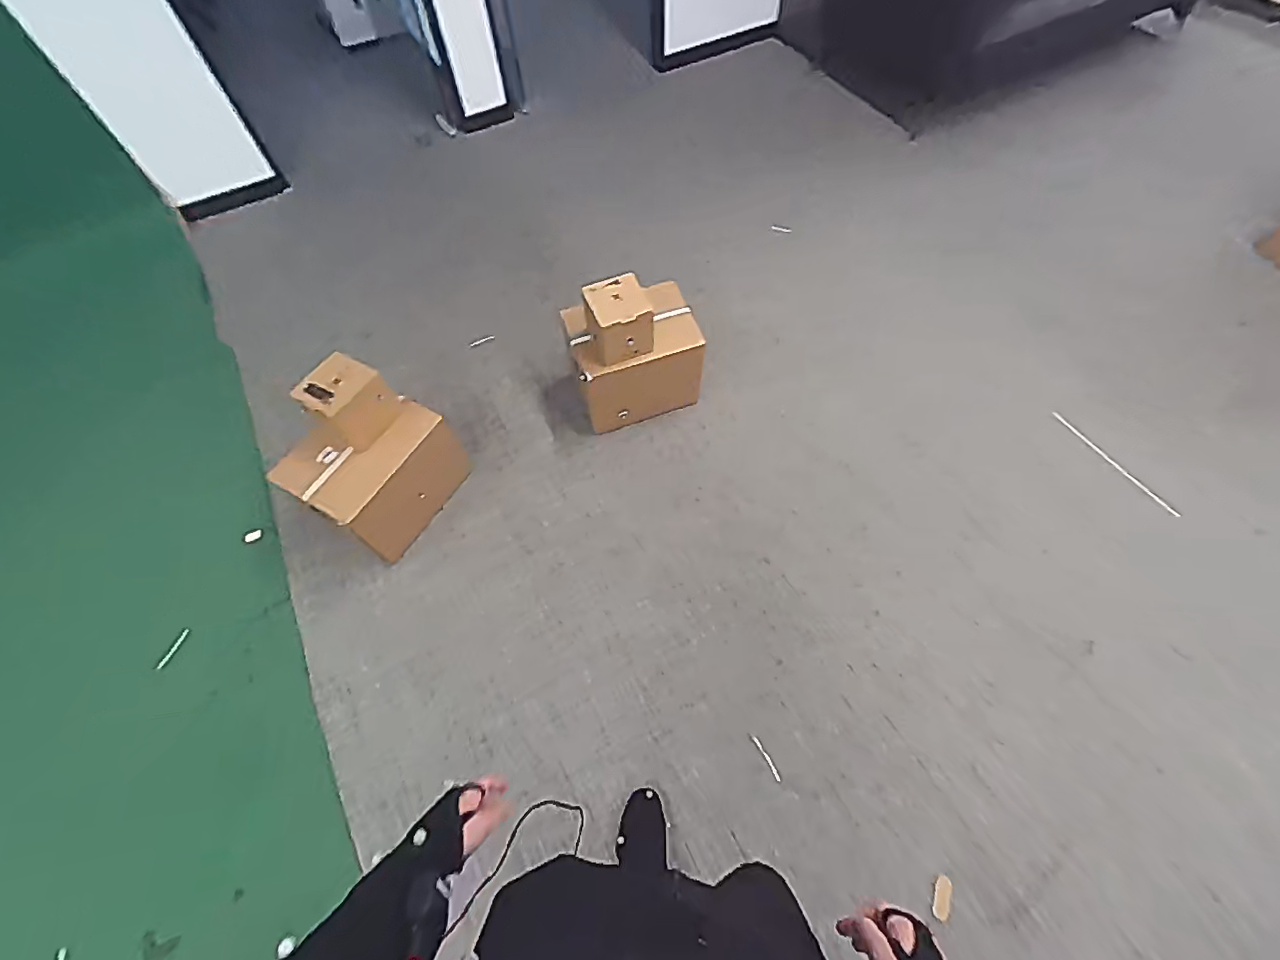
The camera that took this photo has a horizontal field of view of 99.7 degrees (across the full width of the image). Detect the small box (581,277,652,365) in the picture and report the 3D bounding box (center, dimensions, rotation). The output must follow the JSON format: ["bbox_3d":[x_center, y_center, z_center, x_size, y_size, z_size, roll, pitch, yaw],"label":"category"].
[{"bbox_3d":[-0.068,-0.473,1.639,0.168,0.176,0.179,-20,64,-10],"label":"small box"}]

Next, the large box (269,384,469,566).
[{"bbox_3d":[-0.805,-0.011,1.674,0.320,0.320,0.408,25,65,15],"label":"large box"}]
